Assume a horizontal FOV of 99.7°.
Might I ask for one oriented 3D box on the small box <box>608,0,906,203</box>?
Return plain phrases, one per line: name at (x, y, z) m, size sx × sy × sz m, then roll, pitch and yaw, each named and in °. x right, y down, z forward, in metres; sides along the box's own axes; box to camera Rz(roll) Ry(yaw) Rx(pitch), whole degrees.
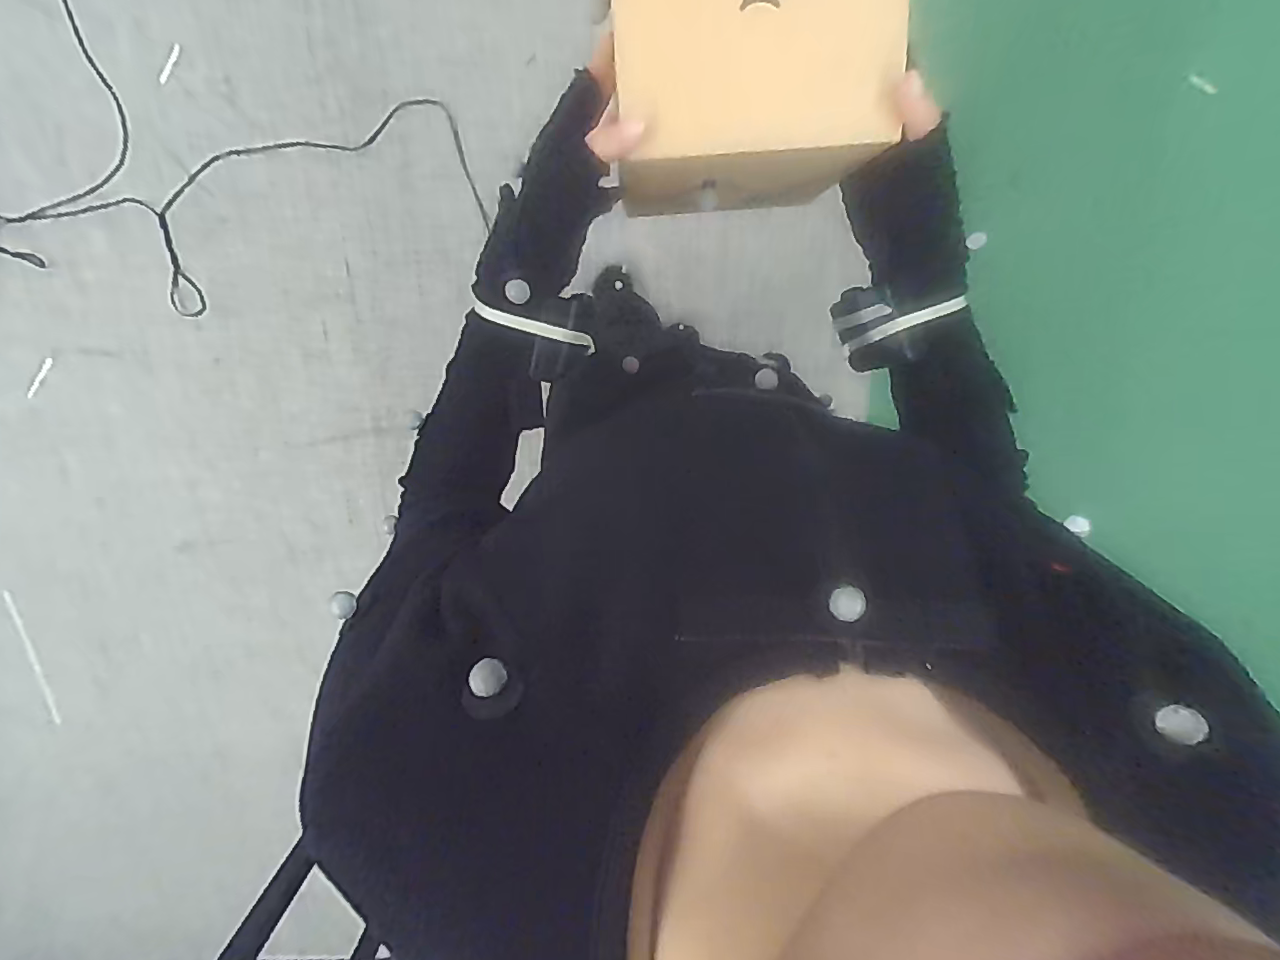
small box at (0.064, -0.302, 0.370) m, size 0.168 × 0.176 × 0.179 m, roll -4°, pitch 103°, yaw 0°
